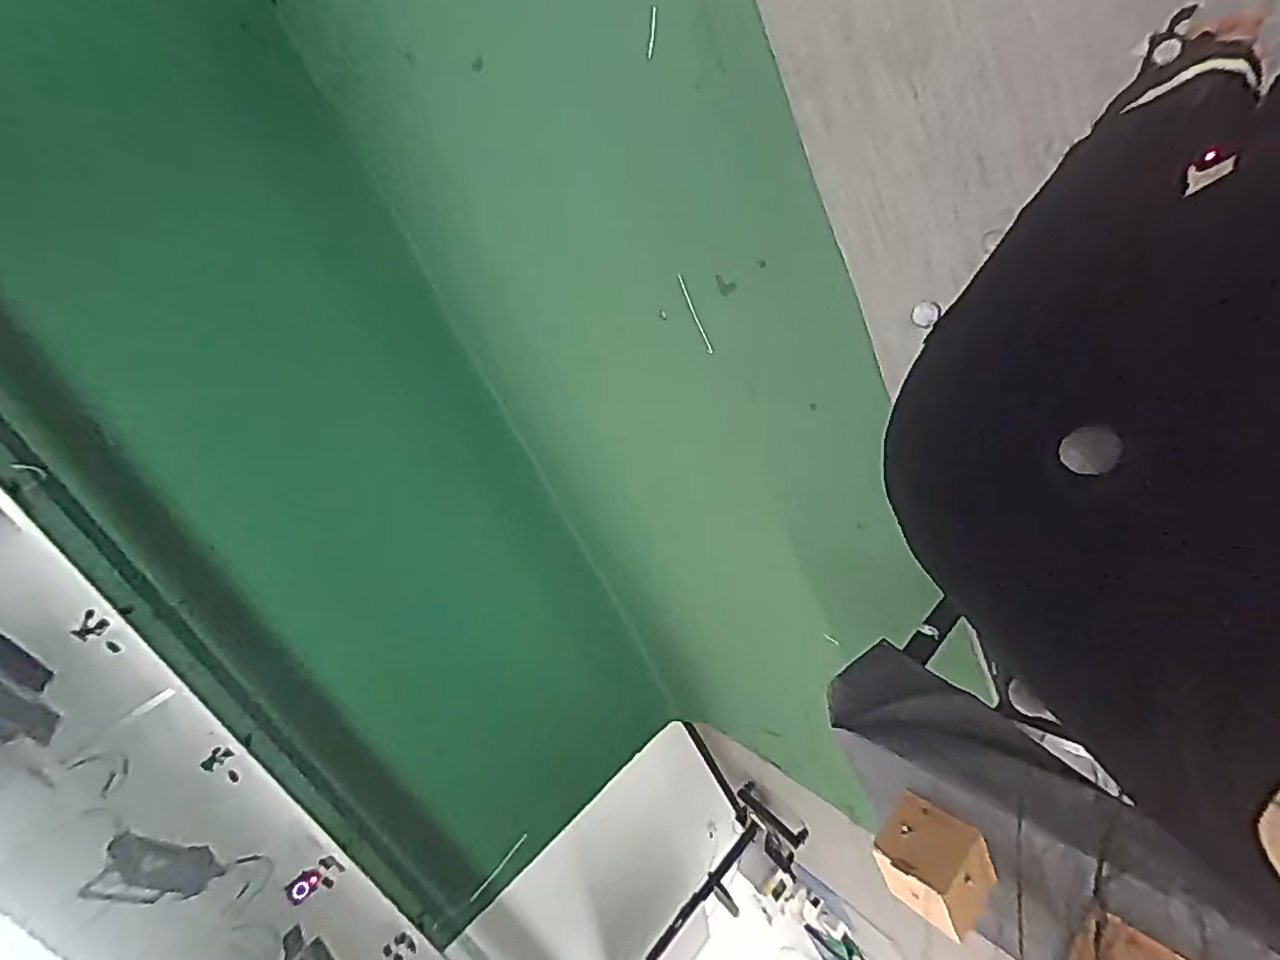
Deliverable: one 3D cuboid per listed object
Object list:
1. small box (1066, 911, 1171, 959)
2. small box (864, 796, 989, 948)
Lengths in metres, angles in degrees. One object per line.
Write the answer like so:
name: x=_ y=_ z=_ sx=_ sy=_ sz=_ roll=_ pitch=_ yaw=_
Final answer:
small box: x=0.834 y=0.901 z=0.919 sx=0.168 sy=0.176 sz=0.179 roll=17 pitch=135 yaw=52
small box: x=0.632 y=0.847 z=1.189 sx=0.168 sy=0.176 sz=0.179 roll=7 pitch=129 yaw=58
